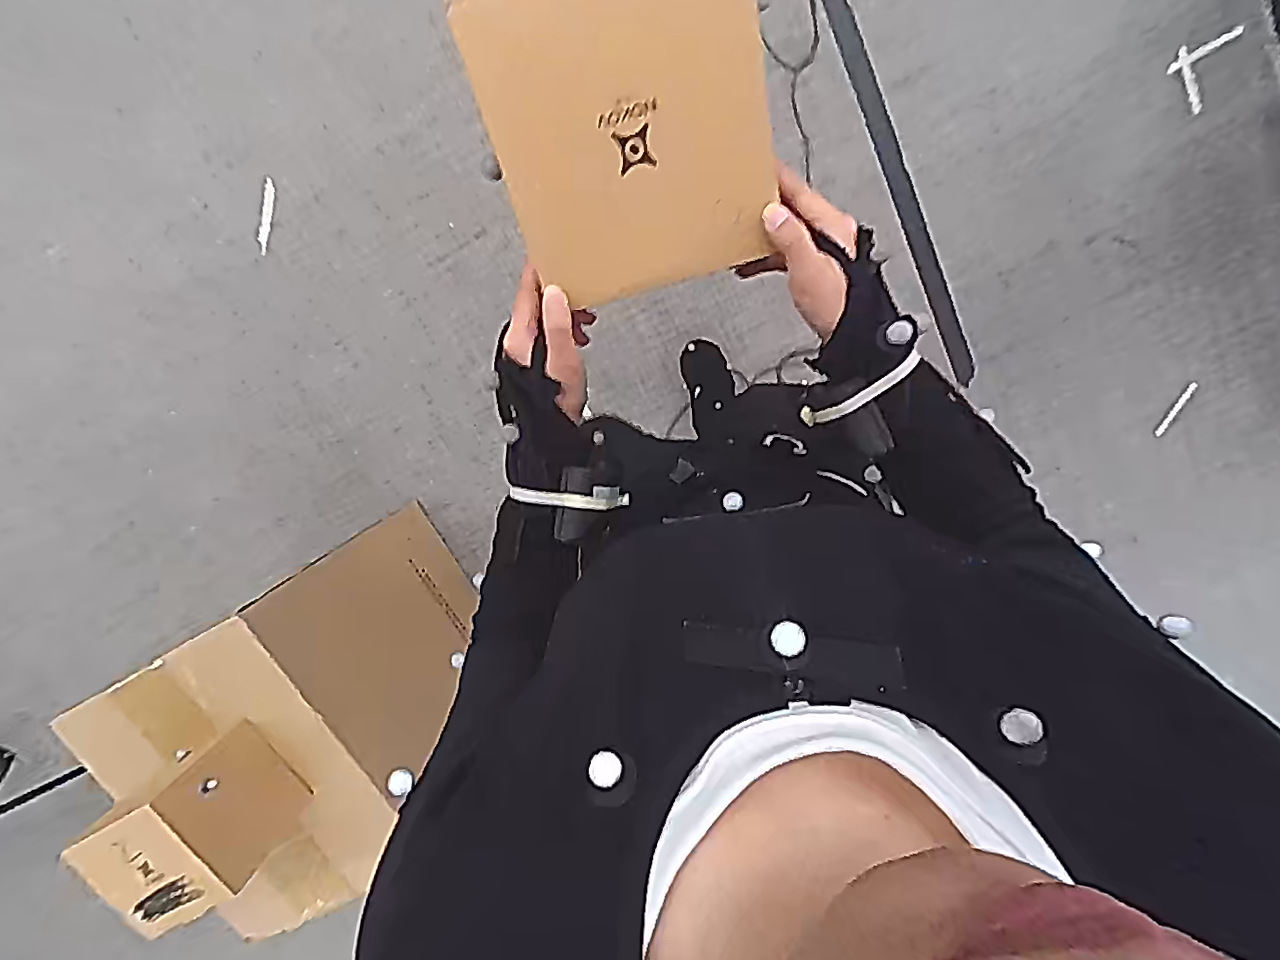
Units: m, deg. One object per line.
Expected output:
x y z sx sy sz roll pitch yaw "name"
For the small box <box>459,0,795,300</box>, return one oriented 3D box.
-0.001 -0.251 0.378 0.168 0.176 0.179 -14 121 6 "small box"
